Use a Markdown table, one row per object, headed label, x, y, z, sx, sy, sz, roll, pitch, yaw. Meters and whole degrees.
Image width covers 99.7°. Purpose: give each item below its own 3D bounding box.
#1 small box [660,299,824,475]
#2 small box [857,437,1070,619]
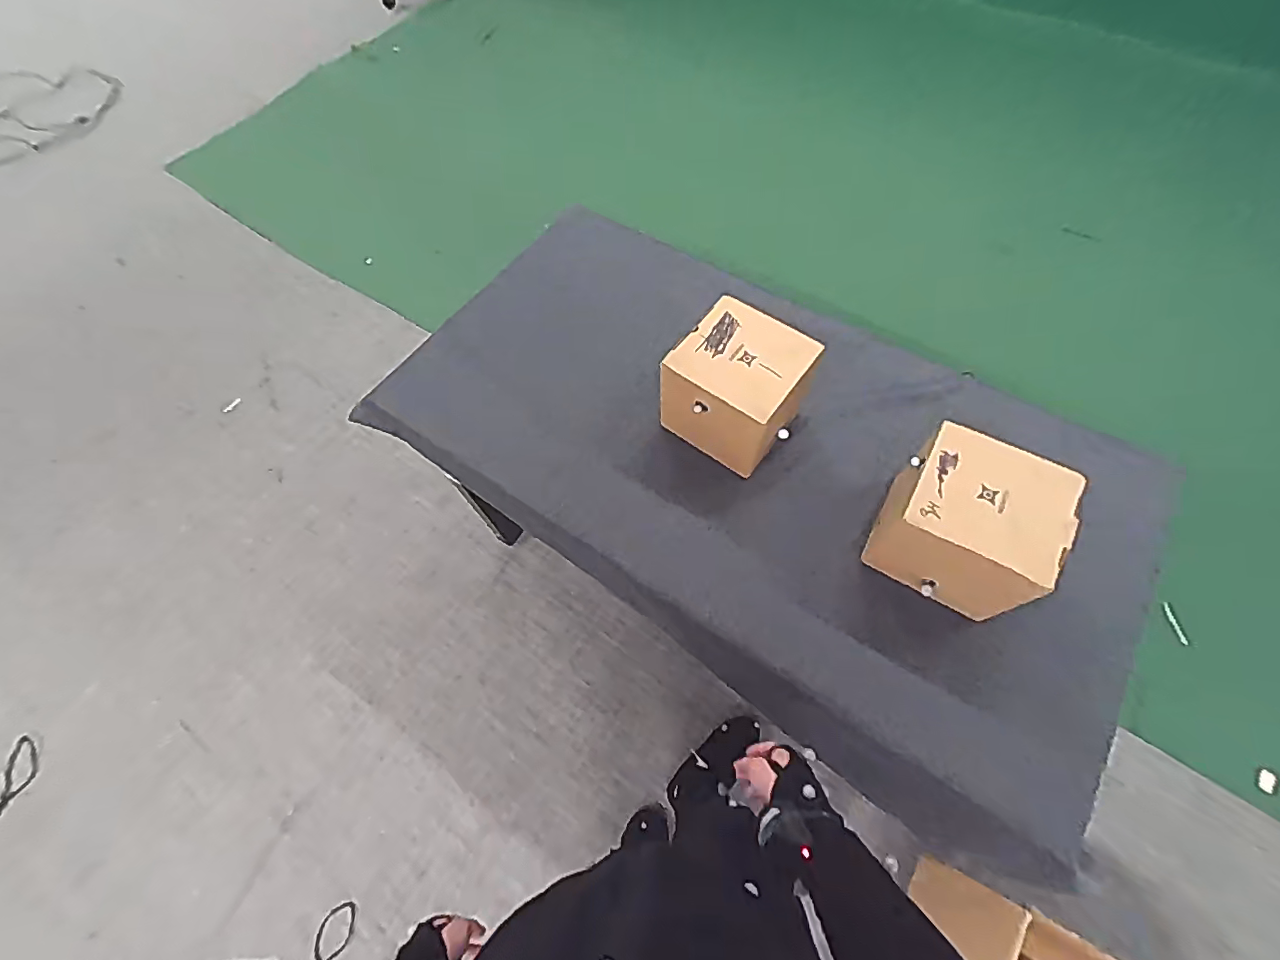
| label | x | y | z | sx | sy | sz | roll | pitch | yaw |
| --- | --- | --- | --- | --- | --- | --- | --- | --- | --- |
| small box | 0.148 | -0.137 | 0.840 | 0.179 | 0.176 | 0.168 | 38 | 73 | 19 |
| small box | 0.431 | 0.075 | 0.745 | 0.179 | 0.176 | 0.168 | 26 | 69 | 15 |
